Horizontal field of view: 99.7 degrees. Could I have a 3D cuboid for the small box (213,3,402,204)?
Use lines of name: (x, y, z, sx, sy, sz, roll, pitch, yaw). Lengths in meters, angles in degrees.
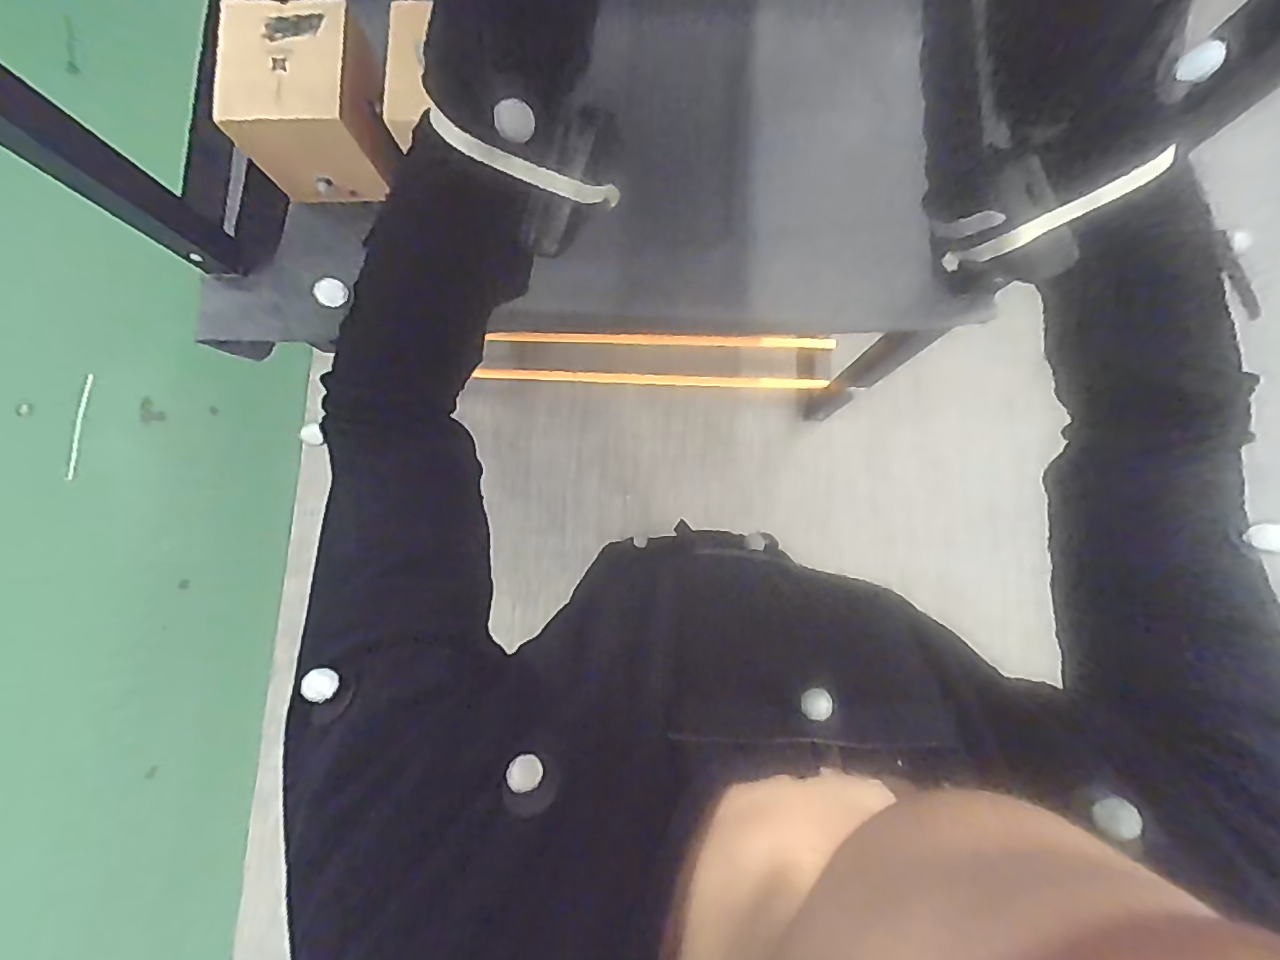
small box: (-0.461, -0.531, 0.779, 0.168, 0.176, 0.179, 0, 83, 1)
